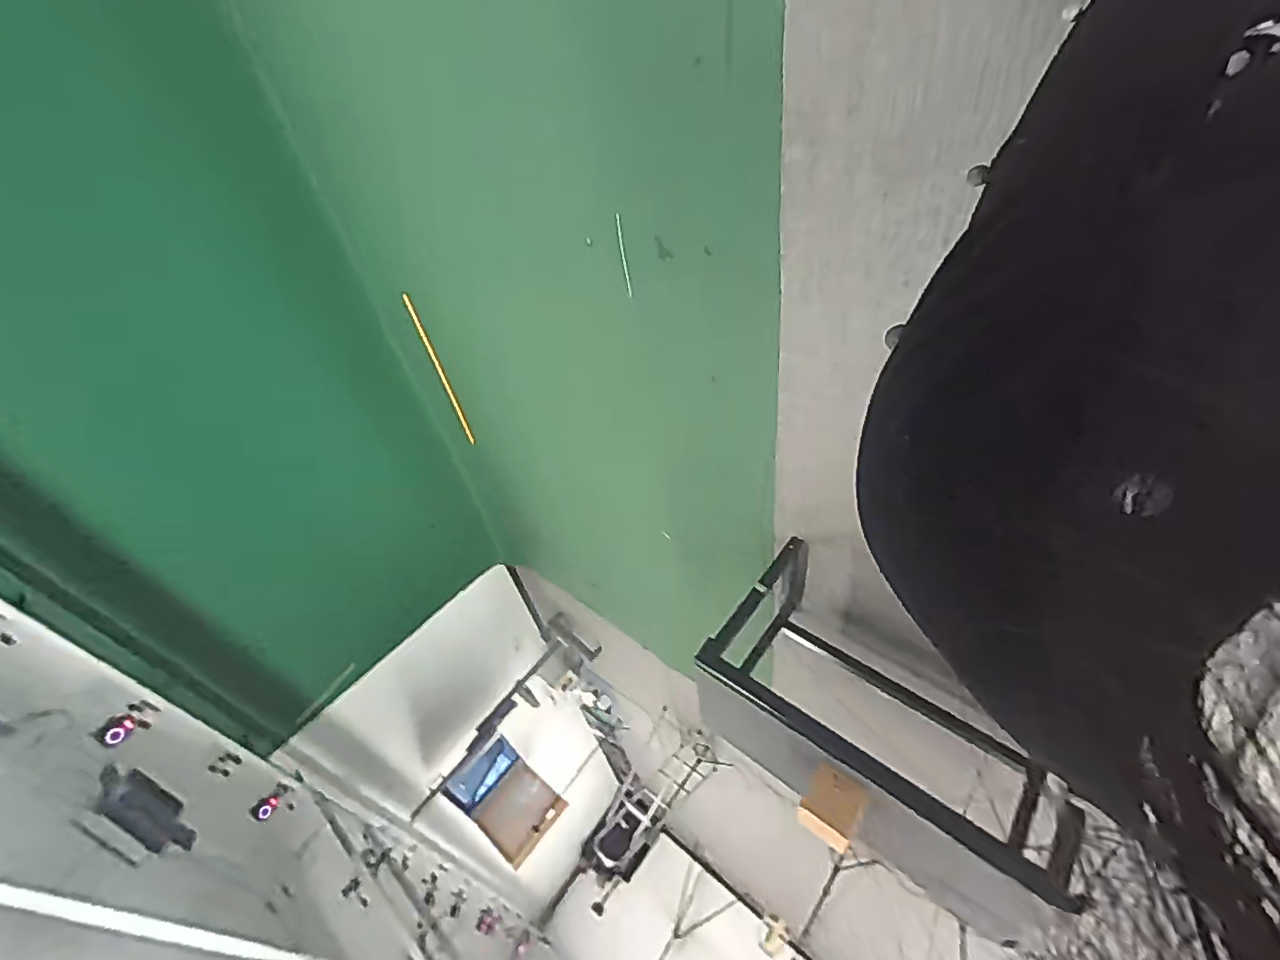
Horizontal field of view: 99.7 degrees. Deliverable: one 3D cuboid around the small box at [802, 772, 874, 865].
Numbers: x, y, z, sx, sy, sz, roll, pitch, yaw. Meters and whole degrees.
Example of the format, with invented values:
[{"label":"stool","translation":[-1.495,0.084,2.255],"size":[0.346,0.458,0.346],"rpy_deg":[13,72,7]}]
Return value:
[{"label":"small box","translation":[0.647,1.100,1.766],"size":[0.168,0.176,0.179],"rpy_deg":[23,143,35]}]
